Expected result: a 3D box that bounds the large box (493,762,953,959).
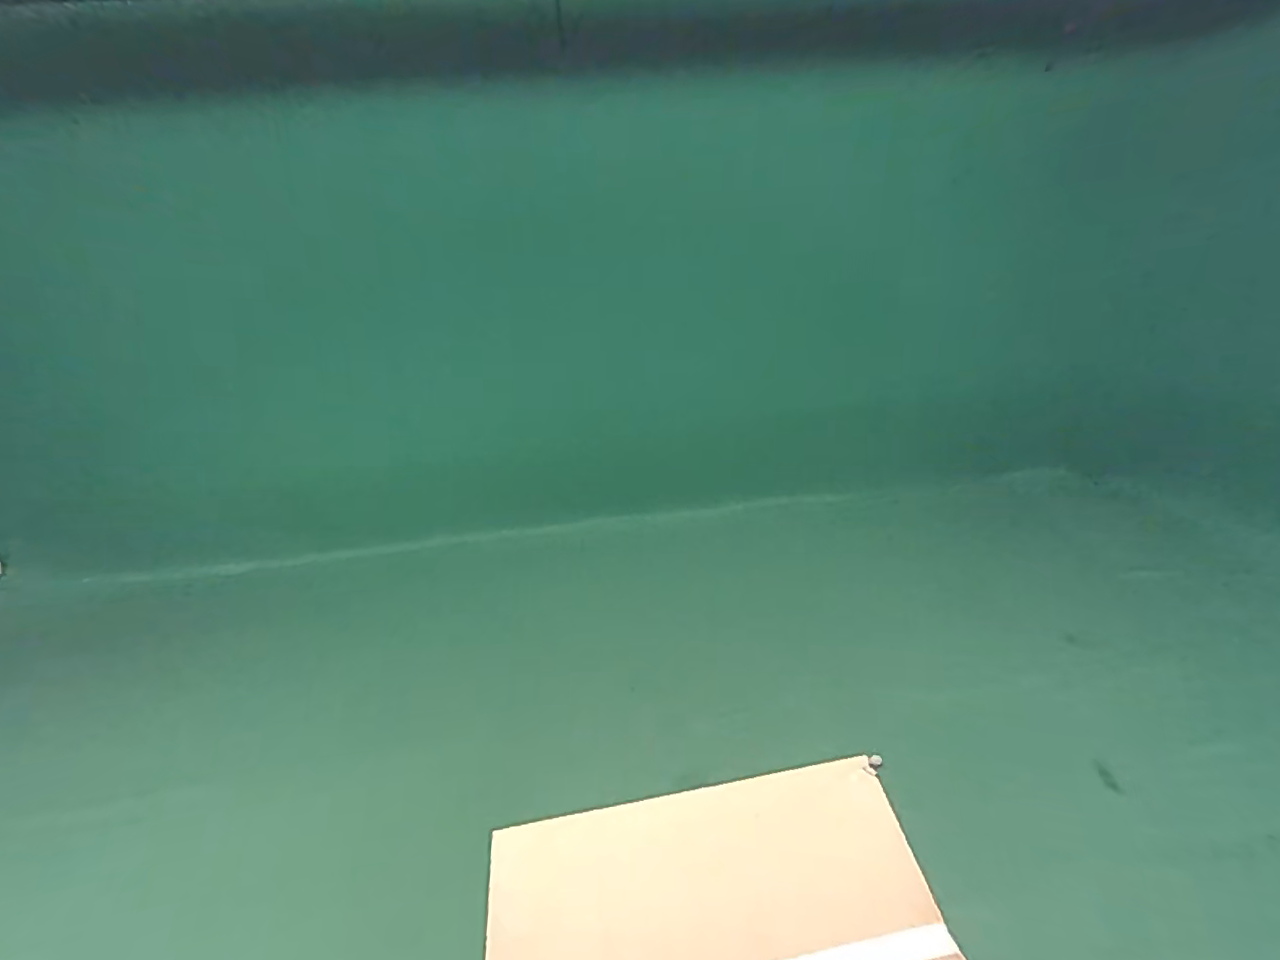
[{"bbox_3d":[0.081,0.550,0.553,0.408,0.320,0.320,-9,41,-5],"label":"large box"}]
